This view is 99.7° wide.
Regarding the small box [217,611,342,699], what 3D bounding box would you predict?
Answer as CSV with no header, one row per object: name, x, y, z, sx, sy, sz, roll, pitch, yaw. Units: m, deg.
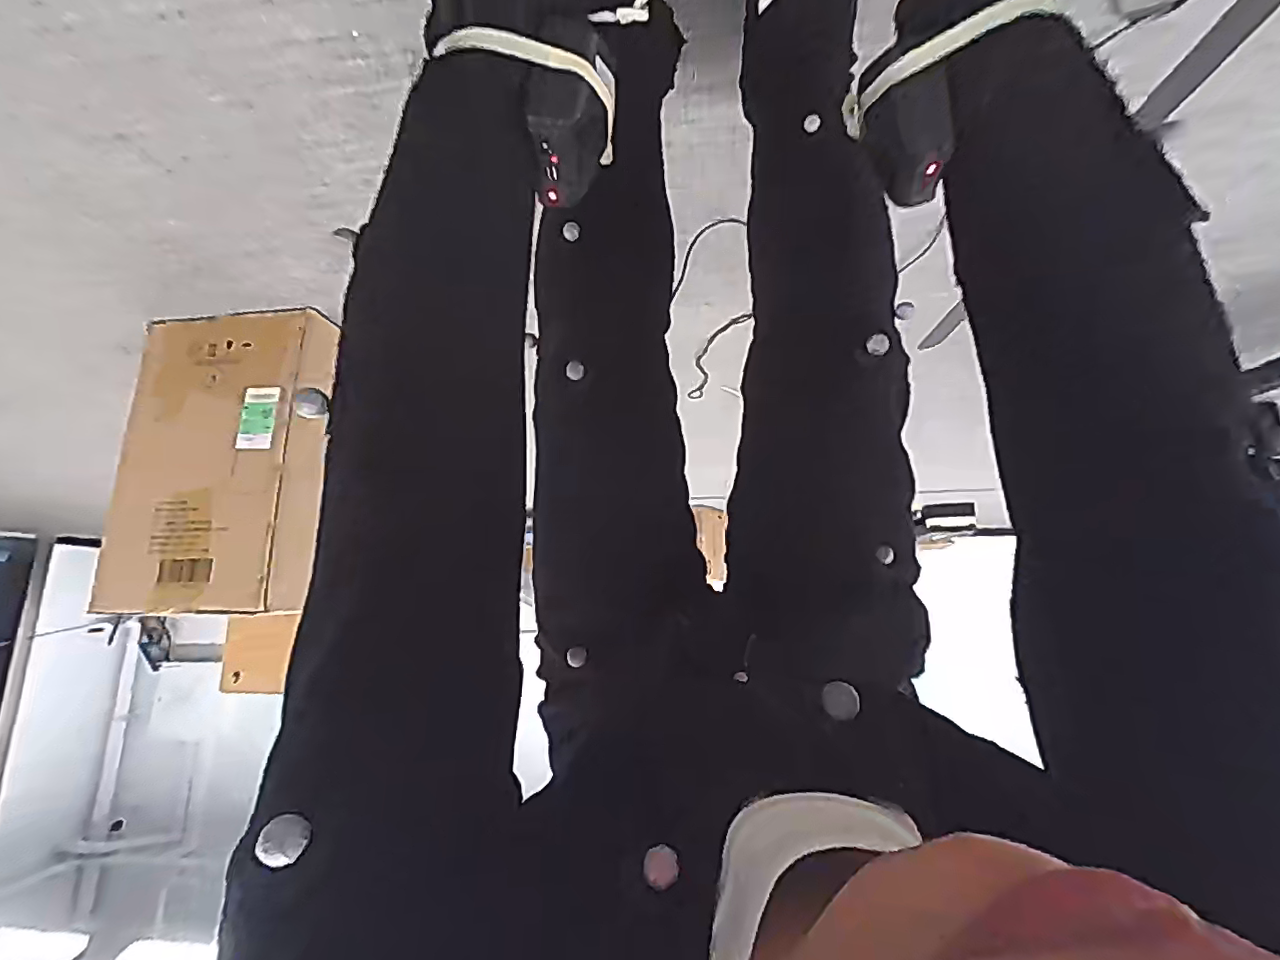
small box,-0.797,0.386,1.216,0.179,0.176,0.168,-1,168,5
